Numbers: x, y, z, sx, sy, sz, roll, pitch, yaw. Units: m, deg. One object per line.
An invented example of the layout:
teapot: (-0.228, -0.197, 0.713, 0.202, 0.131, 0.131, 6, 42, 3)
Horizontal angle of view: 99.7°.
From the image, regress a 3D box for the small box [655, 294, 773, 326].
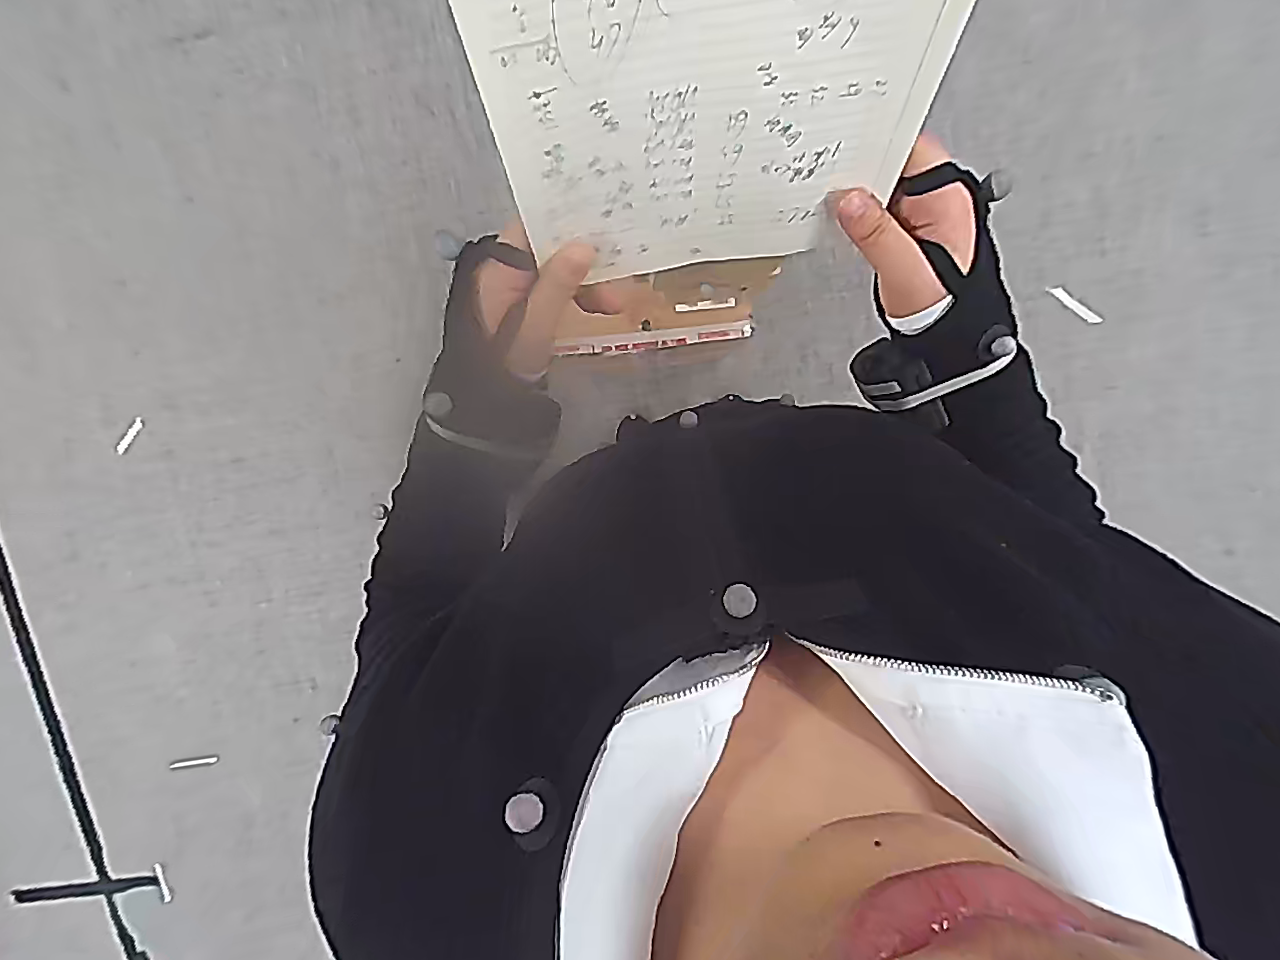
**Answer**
small box: (0.107, -0.356, 0.889, 0.179, 0.176, 0.168, -7, 98, 2)

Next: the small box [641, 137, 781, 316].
small box: (0.087, -0.327, 0.727, 0.168, 0.176, 0.179, -3, 99, 1)
